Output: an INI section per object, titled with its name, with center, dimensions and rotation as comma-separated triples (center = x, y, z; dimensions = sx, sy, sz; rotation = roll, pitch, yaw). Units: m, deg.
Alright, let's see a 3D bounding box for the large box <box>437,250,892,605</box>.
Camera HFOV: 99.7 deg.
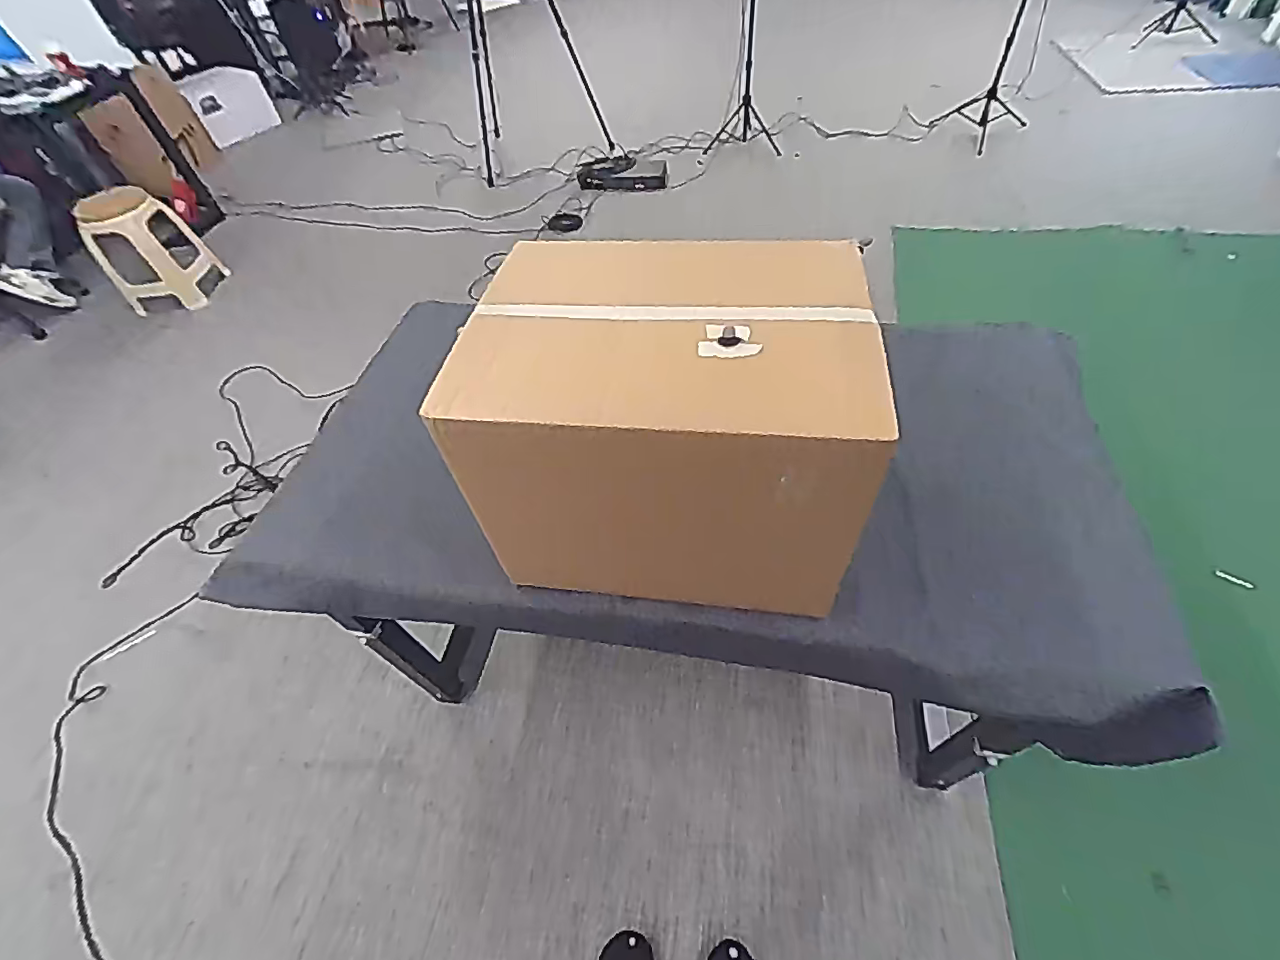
[large box]
center = 0.037, -0.065, 0.669
dimensions = 0.408, 0.320, 0.320
rotation = 4, 51, 8
